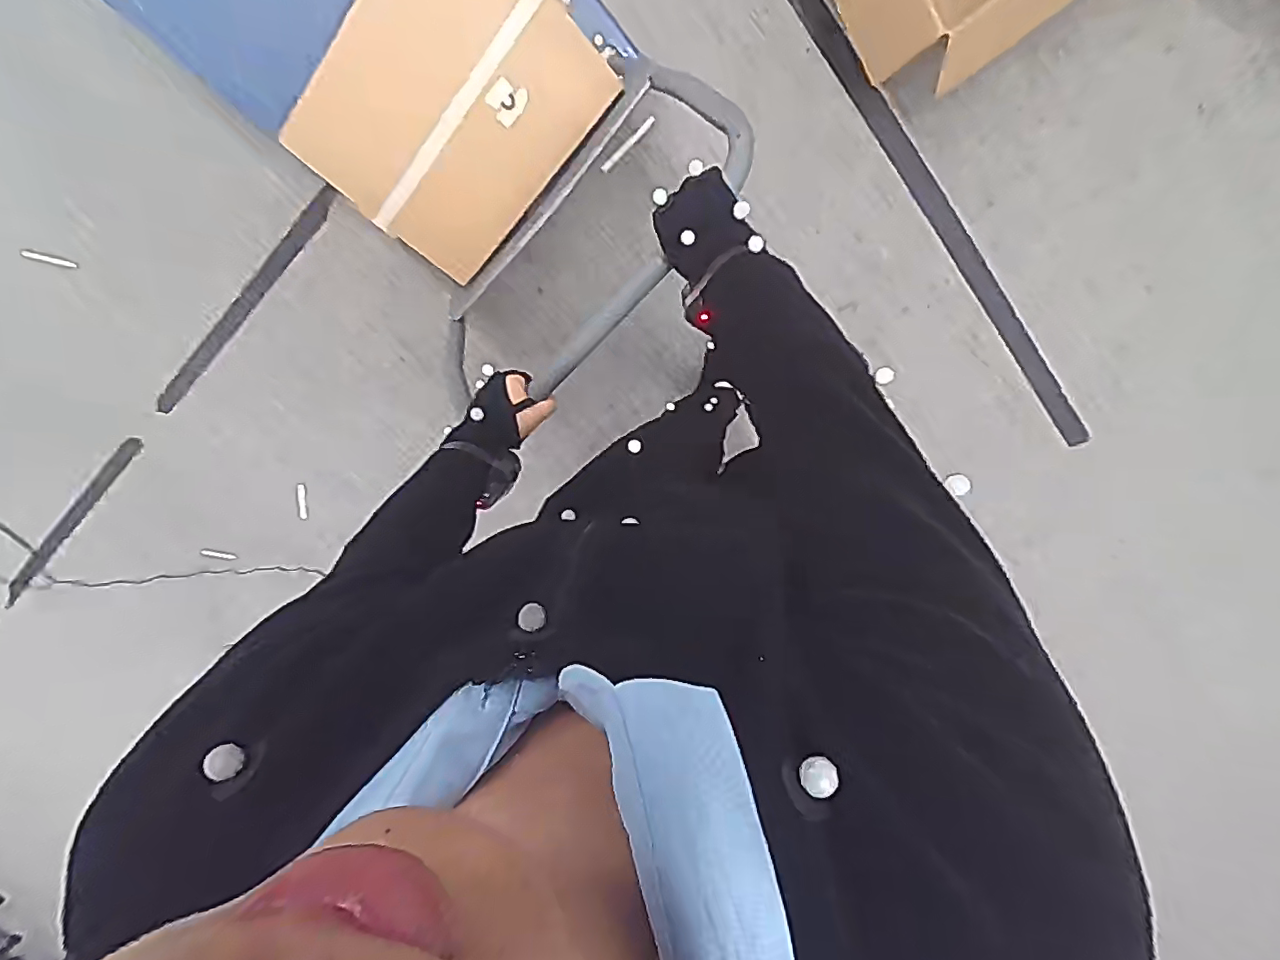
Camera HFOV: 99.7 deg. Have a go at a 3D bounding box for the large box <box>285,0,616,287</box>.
[{"bbox_3d":[-0.299,-0.616,0.905,0.320,0.320,0.408,34,113,-32],"label":"large box"}]
